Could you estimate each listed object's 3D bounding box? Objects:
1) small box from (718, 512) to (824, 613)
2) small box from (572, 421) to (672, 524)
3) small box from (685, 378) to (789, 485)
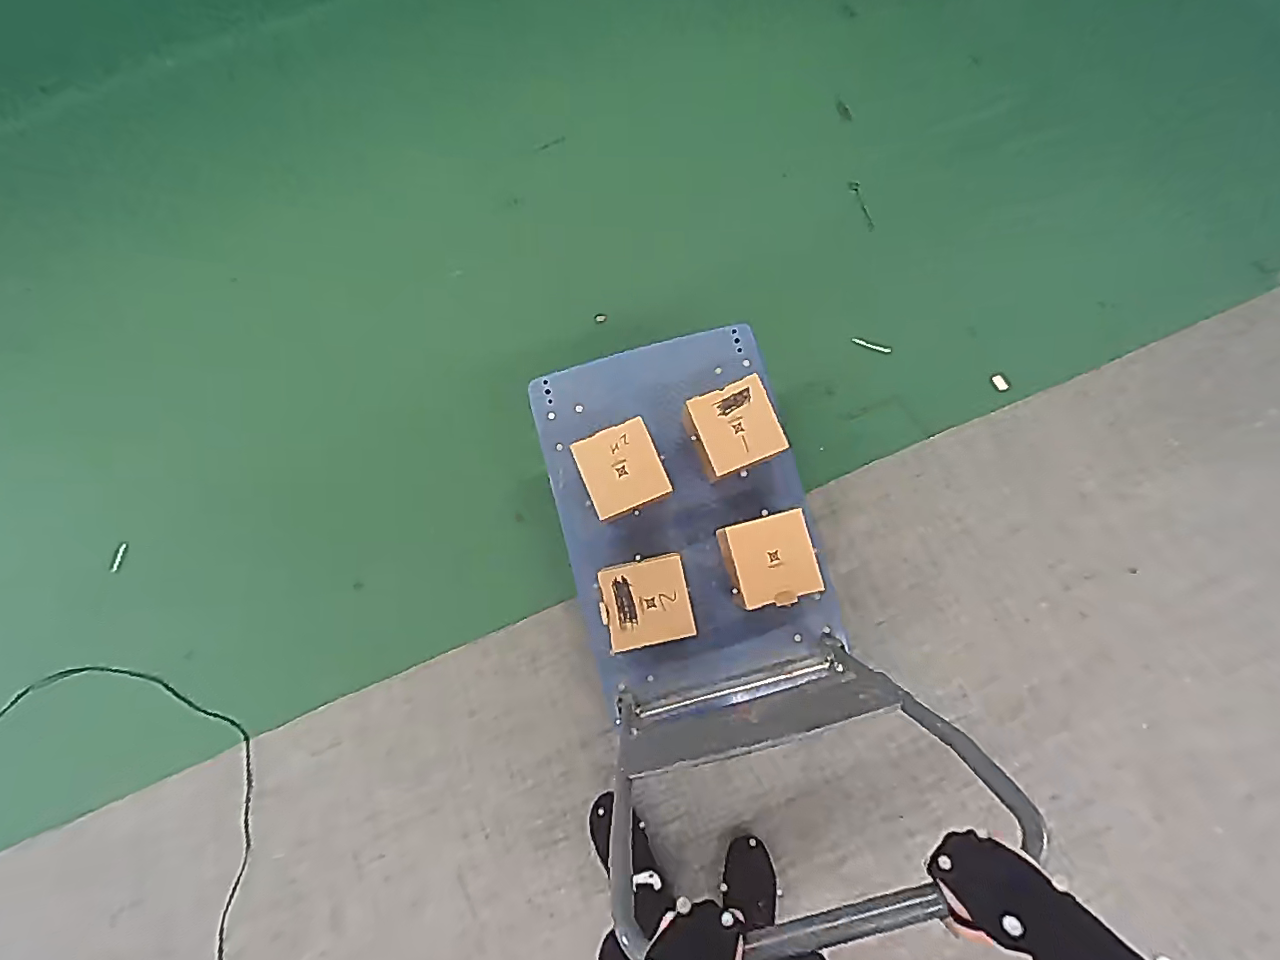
[{"bbox_3d":[0.277,0.177,1.185,0.168,0.176,0.179,-15,84,-1],"label":"small box"},{"bbox_3d":[-0.036,-0.010,1.209,0.168,0.176,0.179,-22,84,-2],"label":"small box"},{"bbox_3d":[0.208,-0.100,1.215,0.168,0.176,0.179,-21,84,-1],"label":"small box"}]
